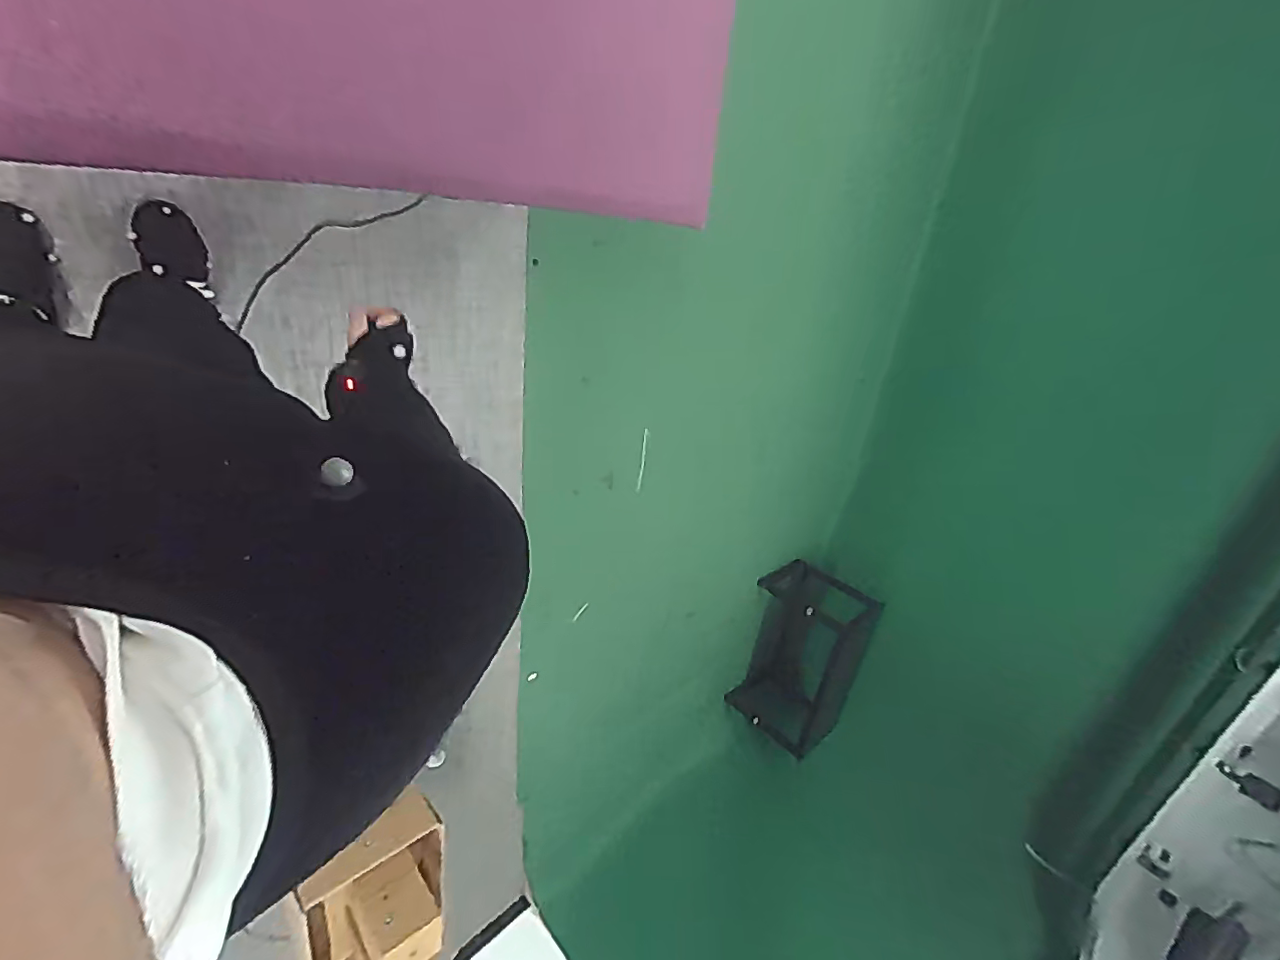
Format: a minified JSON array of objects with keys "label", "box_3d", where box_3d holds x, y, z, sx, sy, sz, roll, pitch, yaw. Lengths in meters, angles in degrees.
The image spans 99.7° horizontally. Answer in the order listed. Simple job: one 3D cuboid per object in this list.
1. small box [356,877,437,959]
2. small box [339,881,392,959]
[{"label":"small box","box_3d":[-0.698,1.290,1.547,0.168,0.176,0.179,-13,122,-43]},{"label":"small box","box_3d":[-0.853,1.459,1.746,0.168,0.176,0.179,-15,121,-43]}]
